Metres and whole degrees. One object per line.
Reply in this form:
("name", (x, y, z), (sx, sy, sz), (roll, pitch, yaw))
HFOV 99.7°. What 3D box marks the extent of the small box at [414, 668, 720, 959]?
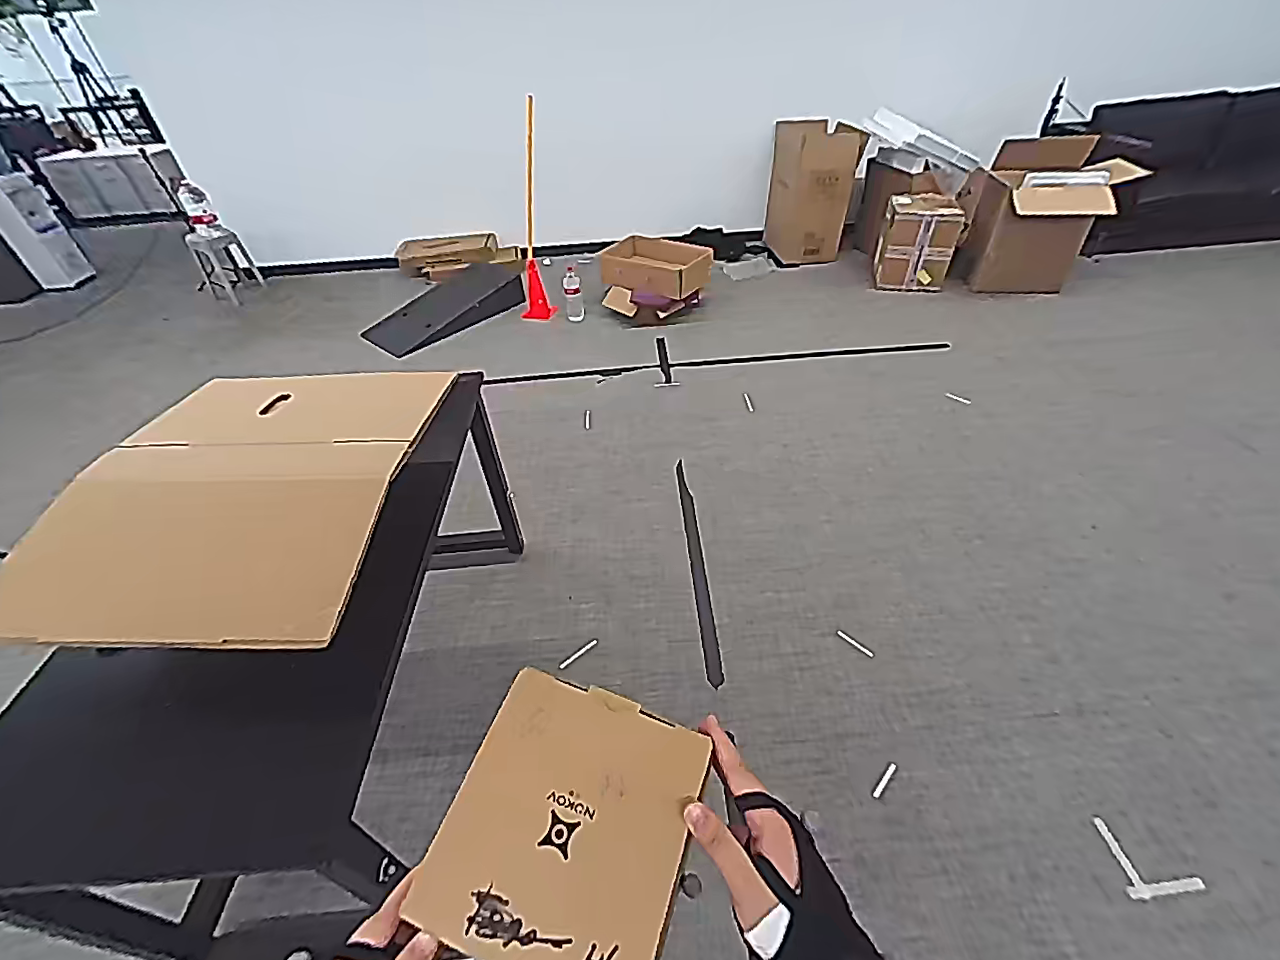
("small box", (-0.040, 0.290, 0.442), (0.168, 0.176, 0.179), (14, 53, 17))
